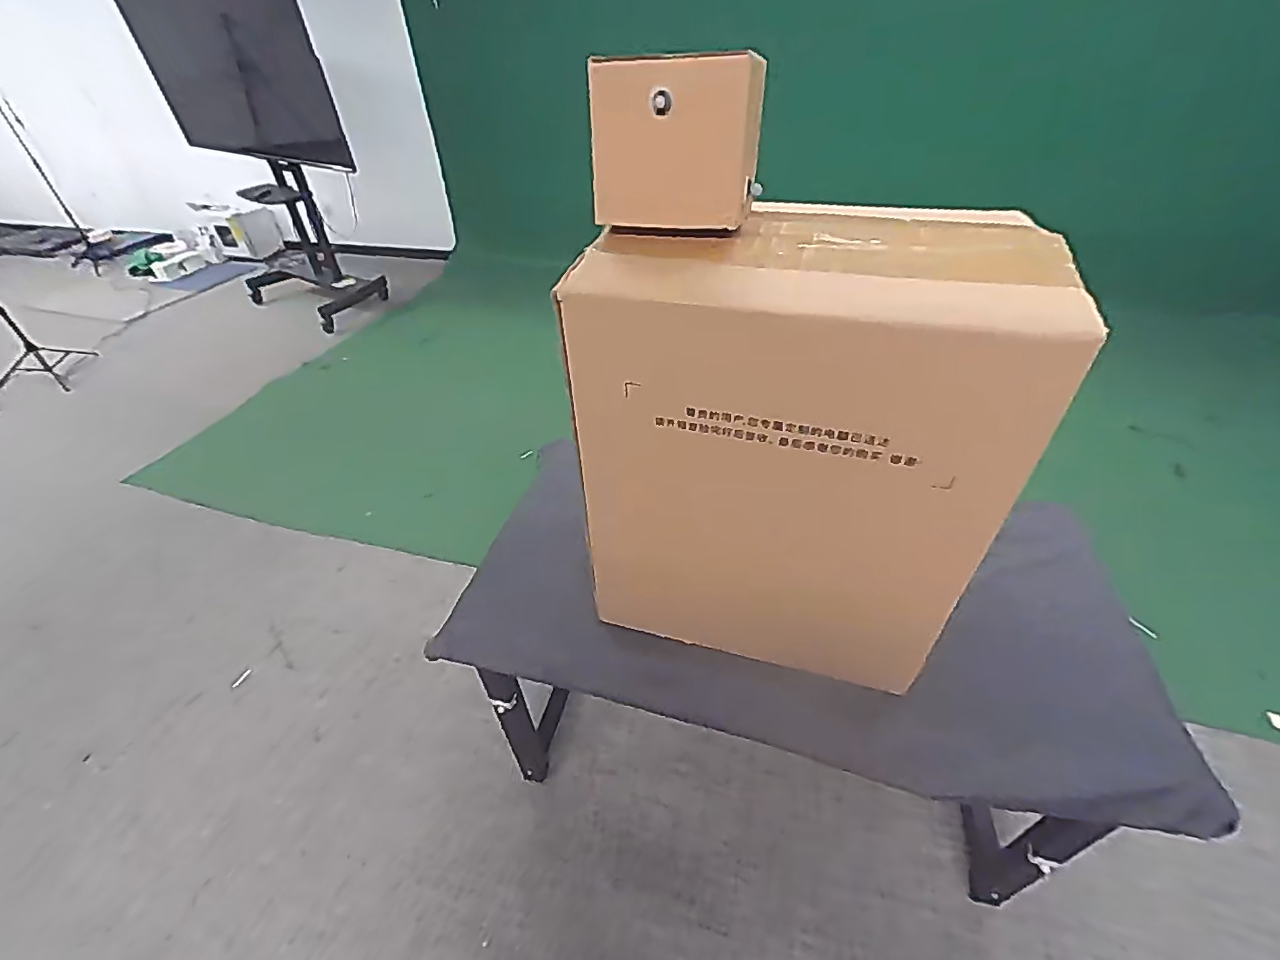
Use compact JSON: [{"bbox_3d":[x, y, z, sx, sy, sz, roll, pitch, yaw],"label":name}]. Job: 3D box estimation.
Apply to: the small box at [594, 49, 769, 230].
[{"bbox_3d":[0.053,-0.410,0.662,0.179,0.176,0.168,10,35,11],"label":"small box"}]
